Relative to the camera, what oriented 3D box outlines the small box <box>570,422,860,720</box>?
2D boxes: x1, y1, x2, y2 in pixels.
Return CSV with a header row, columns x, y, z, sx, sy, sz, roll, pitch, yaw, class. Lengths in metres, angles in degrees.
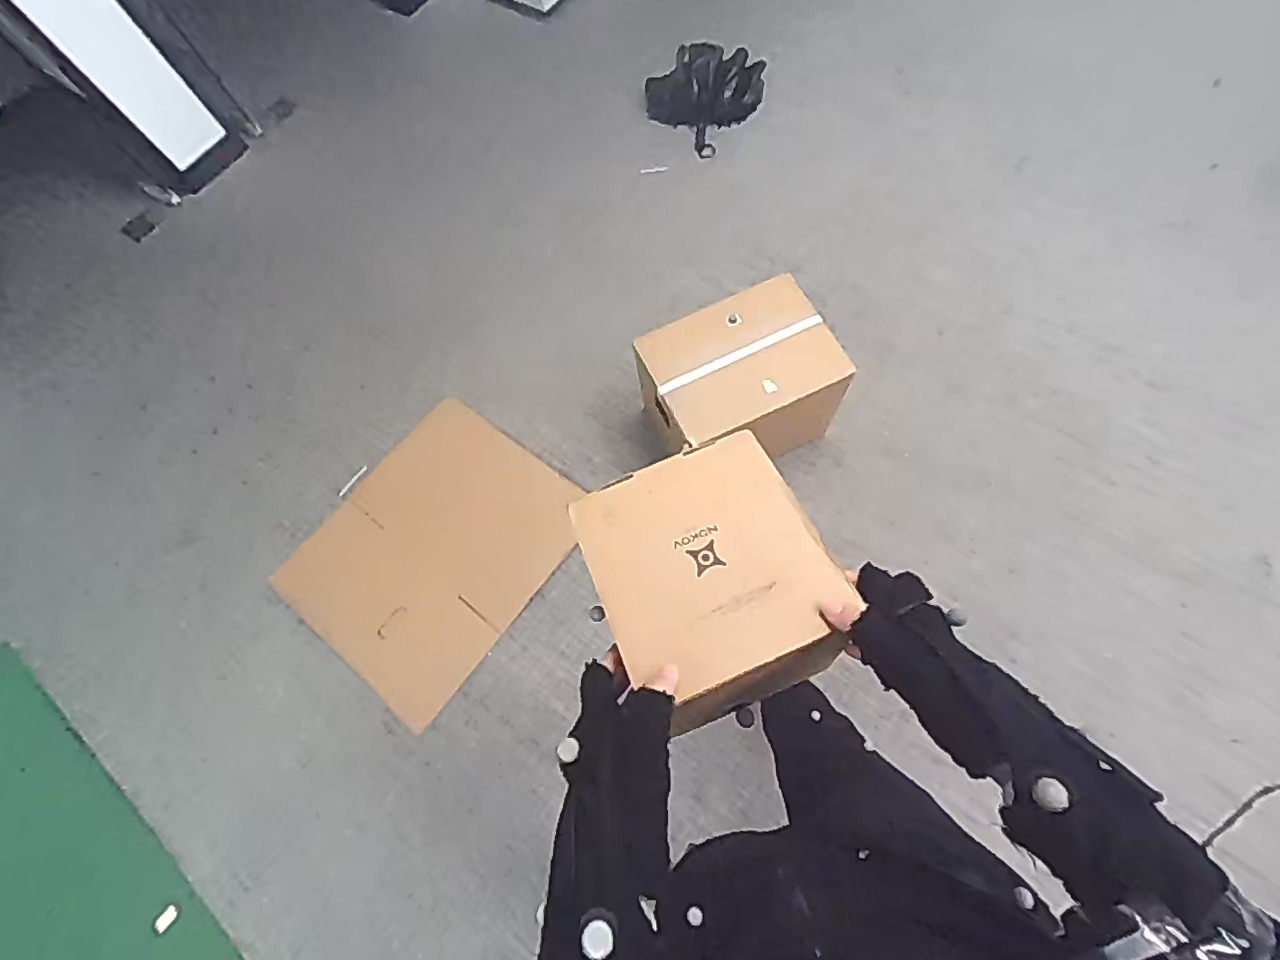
x,y,z,sx,sy,sz,roll,pitch,yaw,class
0.056,0.086,0.474,0.168,0.176,0.179,-23,60,-5,small box
